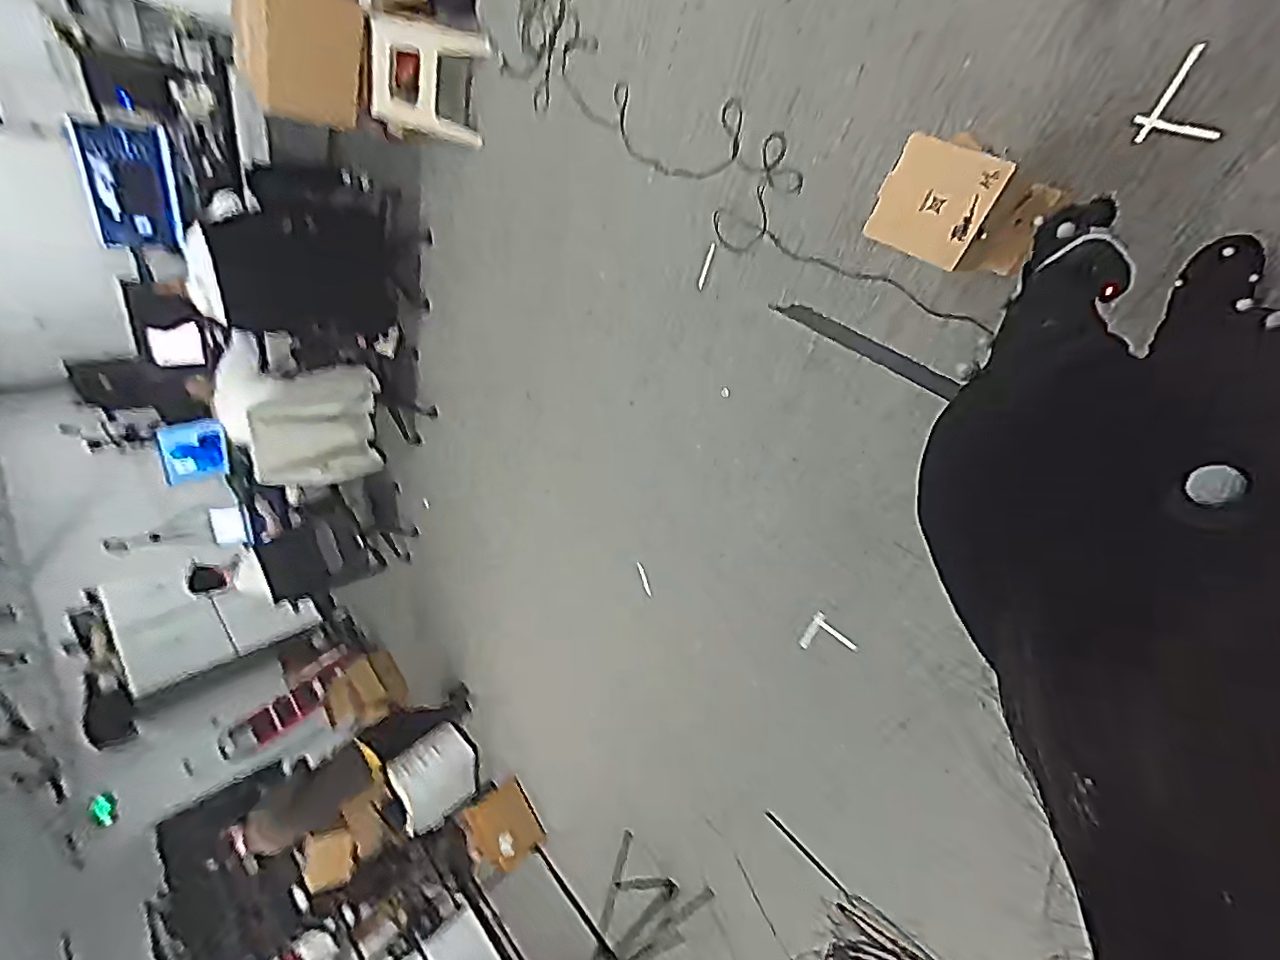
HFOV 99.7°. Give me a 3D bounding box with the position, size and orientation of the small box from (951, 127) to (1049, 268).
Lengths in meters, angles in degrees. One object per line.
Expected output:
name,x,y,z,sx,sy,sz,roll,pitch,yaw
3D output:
small box,0.639,-0.533,1.037,0.179,0.176,0.168,56,135,15

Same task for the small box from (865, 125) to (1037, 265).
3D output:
small box,0.531,-0.478,0.927,0.179,0.176,0.168,40,130,27

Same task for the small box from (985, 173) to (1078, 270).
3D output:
small box,0.768,-0.554,1.137,0.179,0.176,0.168,41,131,27
